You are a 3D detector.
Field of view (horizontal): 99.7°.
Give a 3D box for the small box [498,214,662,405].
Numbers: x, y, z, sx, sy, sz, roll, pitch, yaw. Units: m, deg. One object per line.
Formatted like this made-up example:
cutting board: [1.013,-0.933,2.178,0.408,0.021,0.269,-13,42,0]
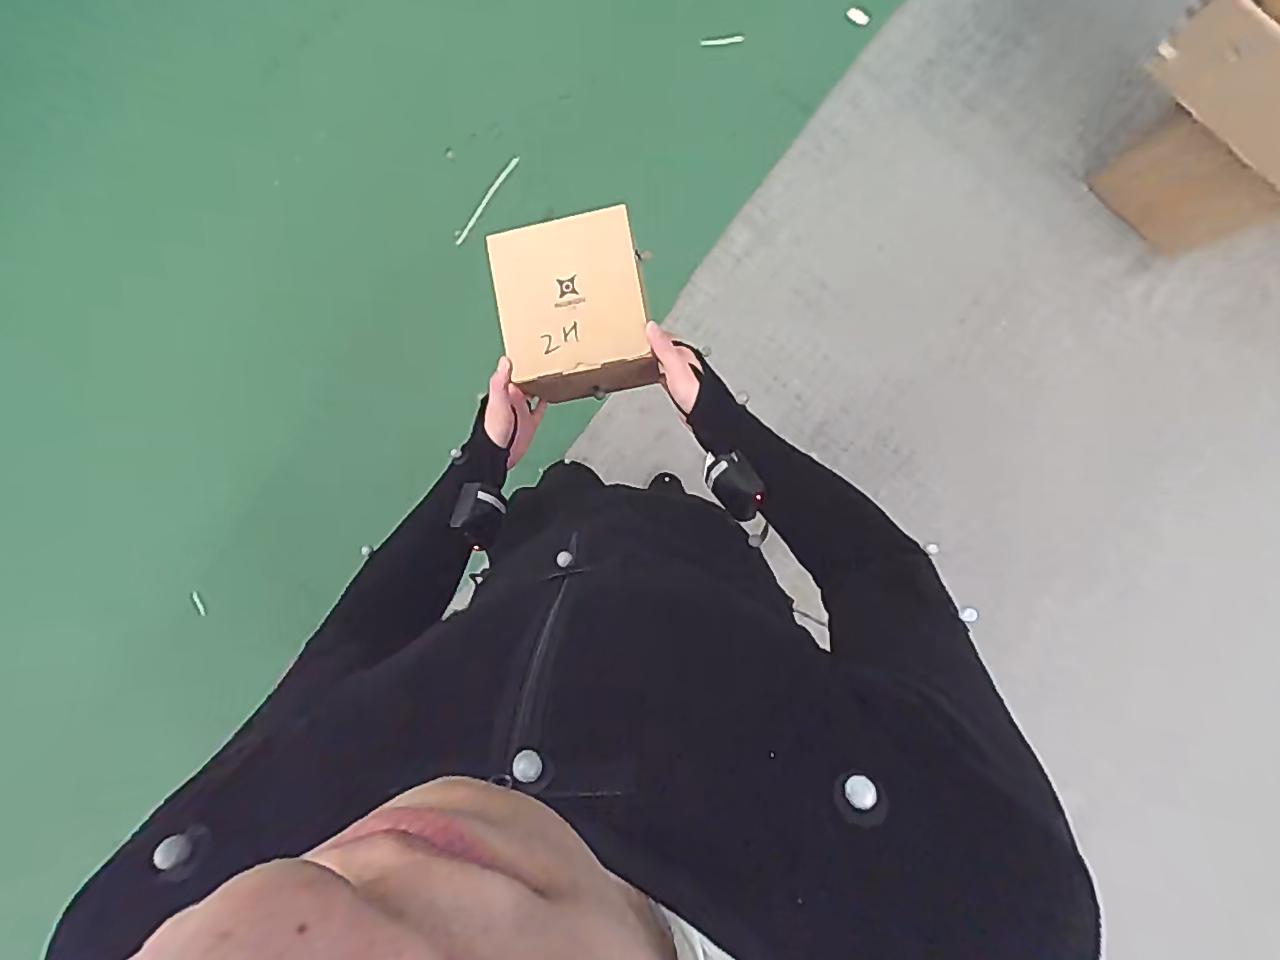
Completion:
small box: [-0.066,-0.203,0.692,0.168,0.176,0.179,-9,90,5]
